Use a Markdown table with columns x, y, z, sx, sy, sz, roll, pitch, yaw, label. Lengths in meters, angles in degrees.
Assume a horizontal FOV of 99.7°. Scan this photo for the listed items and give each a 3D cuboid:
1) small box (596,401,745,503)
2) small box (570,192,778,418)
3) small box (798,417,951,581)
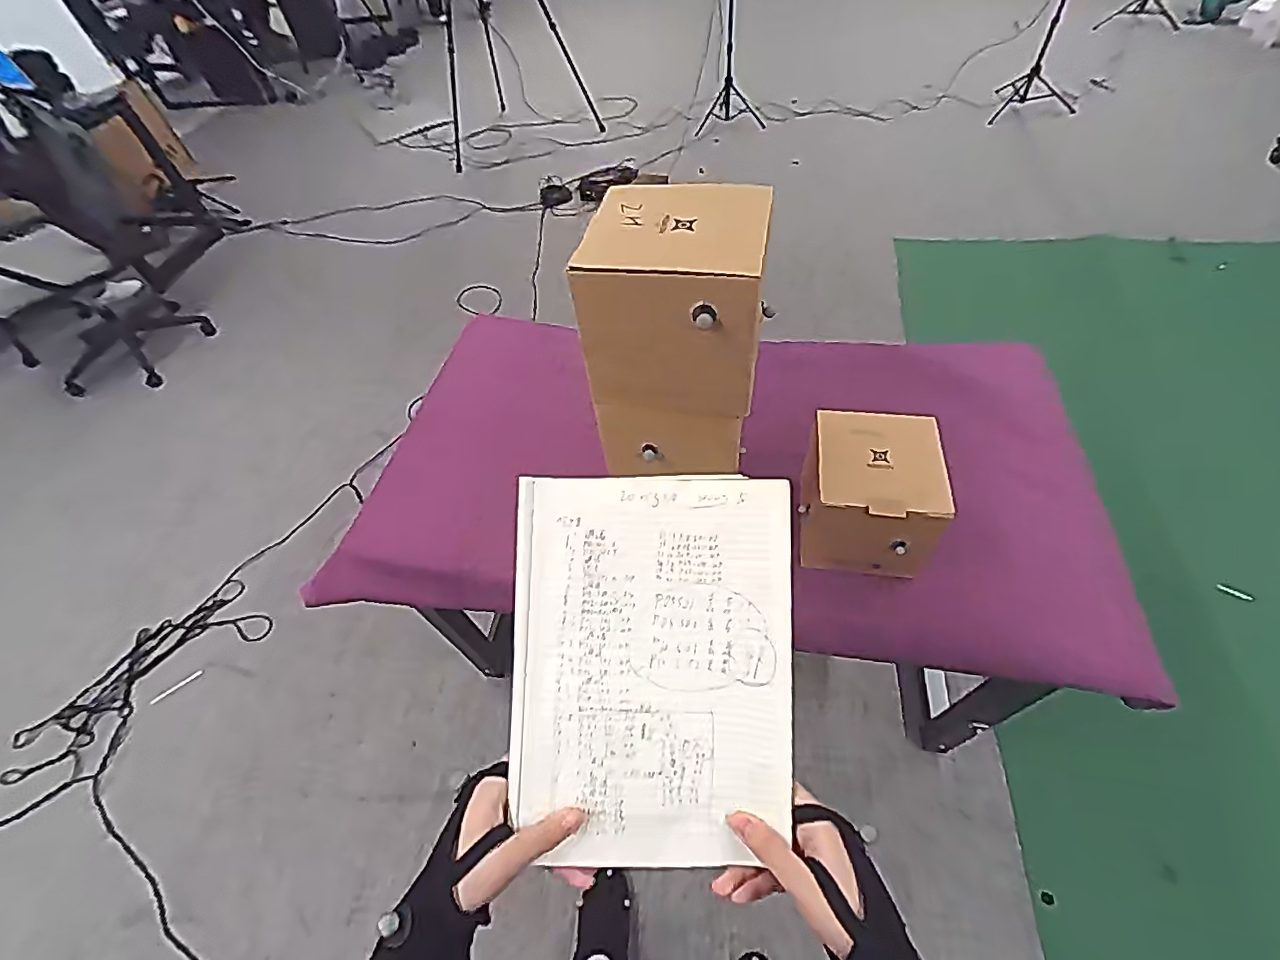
| x | y | z | sx | sy | sz | roll | pitch | yaw | label |
| --- | --- | --- | --- | --- | --- | --- | --- | --- | --- |
| 0.051 | -0.088 | 0.714 | 0.168 | 0.176 | 0.179 | 5 | 52 | 10 | small box |
| 0.045 | -0.184 | 0.580 | 0.179 | 0.176 | 0.168 | 7 | 52 | 12 | small box |
| 0.332 | 0.031 | 0.800 | 0.168 | 0.176 | 0.179 | 6 | 52 | 10 | small box |
